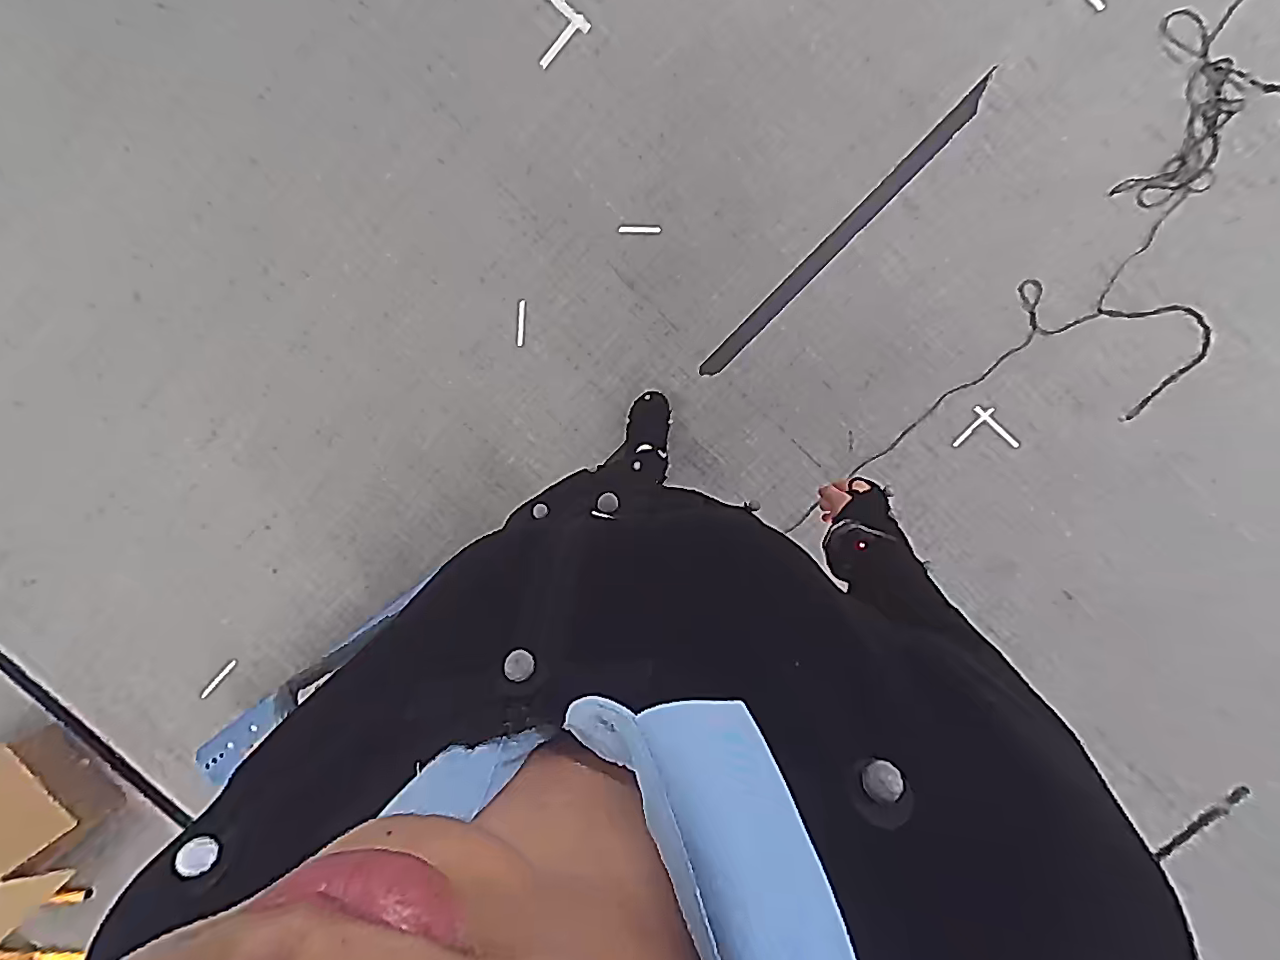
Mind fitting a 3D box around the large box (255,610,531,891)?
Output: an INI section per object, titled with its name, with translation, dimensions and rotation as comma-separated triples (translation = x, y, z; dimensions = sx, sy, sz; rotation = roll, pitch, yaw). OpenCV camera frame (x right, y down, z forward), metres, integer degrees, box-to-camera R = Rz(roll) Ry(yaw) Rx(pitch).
[large box]
translation = -0.518, 0.575, 1.217
dimensions = 0.320, 0.320, 0.408
rotation = -41, 91, 4
